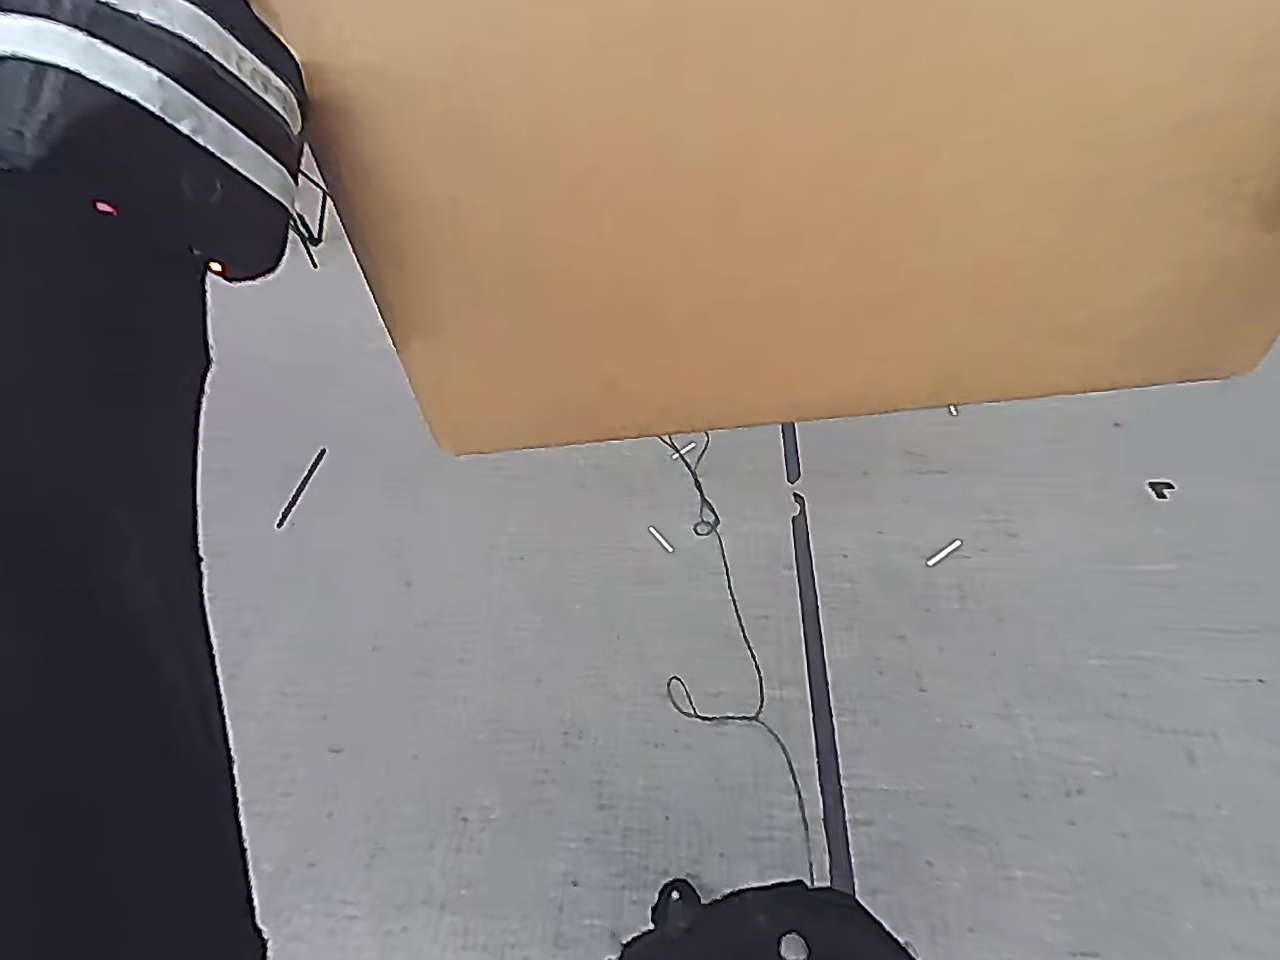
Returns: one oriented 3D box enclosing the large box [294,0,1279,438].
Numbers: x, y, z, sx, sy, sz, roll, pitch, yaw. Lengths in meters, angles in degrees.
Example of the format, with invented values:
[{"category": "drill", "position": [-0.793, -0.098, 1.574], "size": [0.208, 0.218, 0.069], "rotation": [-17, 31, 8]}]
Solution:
[{"category": "large box", "position": [0.075, -0.247, 0.301], "size": [0.408, 0.320, 0.320], "rotation": [-6, 41, 0]}]
